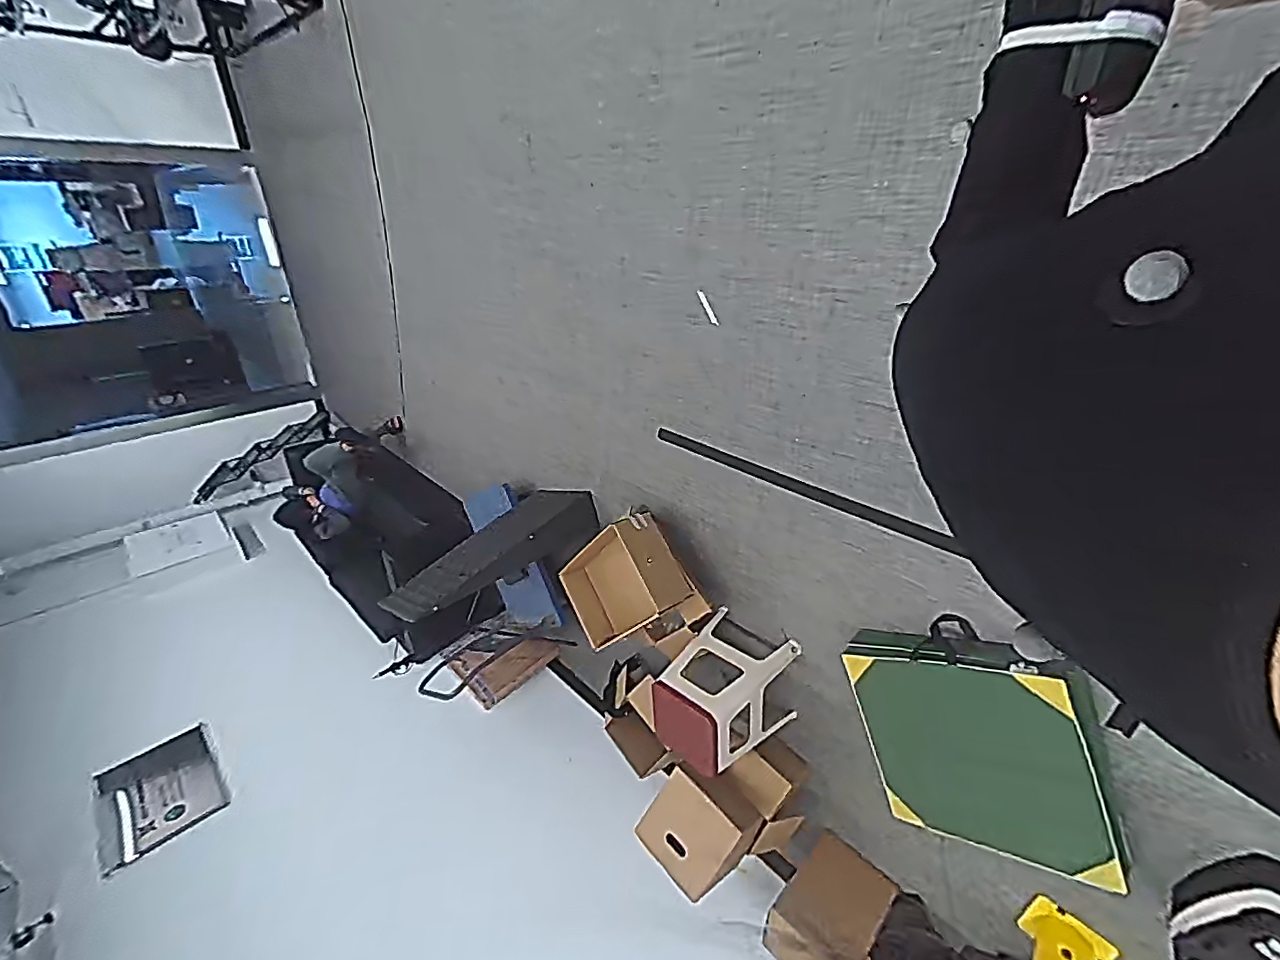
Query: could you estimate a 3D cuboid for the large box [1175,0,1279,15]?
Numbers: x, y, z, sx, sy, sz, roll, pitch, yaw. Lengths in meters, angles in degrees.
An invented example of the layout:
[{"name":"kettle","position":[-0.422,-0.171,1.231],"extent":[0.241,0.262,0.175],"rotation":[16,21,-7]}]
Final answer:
[{"name":"large box","position":[0.539,-0.440,0.218],"extent":[0.408,0.320,0.320],"rotation":[24,134,40]}]
